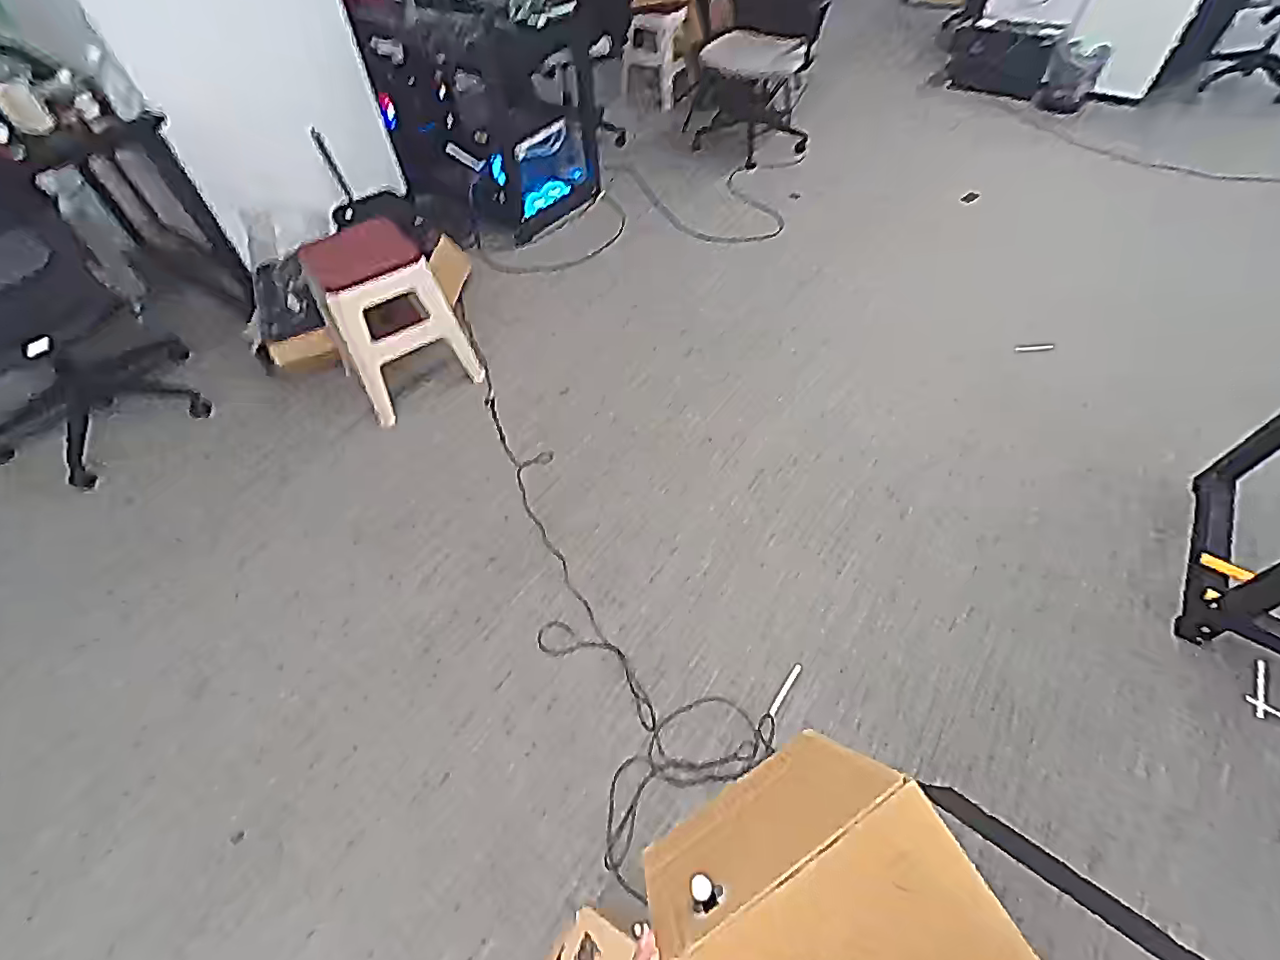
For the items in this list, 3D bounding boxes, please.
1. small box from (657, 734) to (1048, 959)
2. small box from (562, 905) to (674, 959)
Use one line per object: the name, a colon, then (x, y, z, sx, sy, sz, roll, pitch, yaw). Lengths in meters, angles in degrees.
small box: (0.125, 0.296, 0.351, 0.179, 0.176, 0.168, -32, 78, -9)
small box: (-0.048, 0.846, 0.896, 0.179, 0.176, 0.168, 24, 58, 18)
